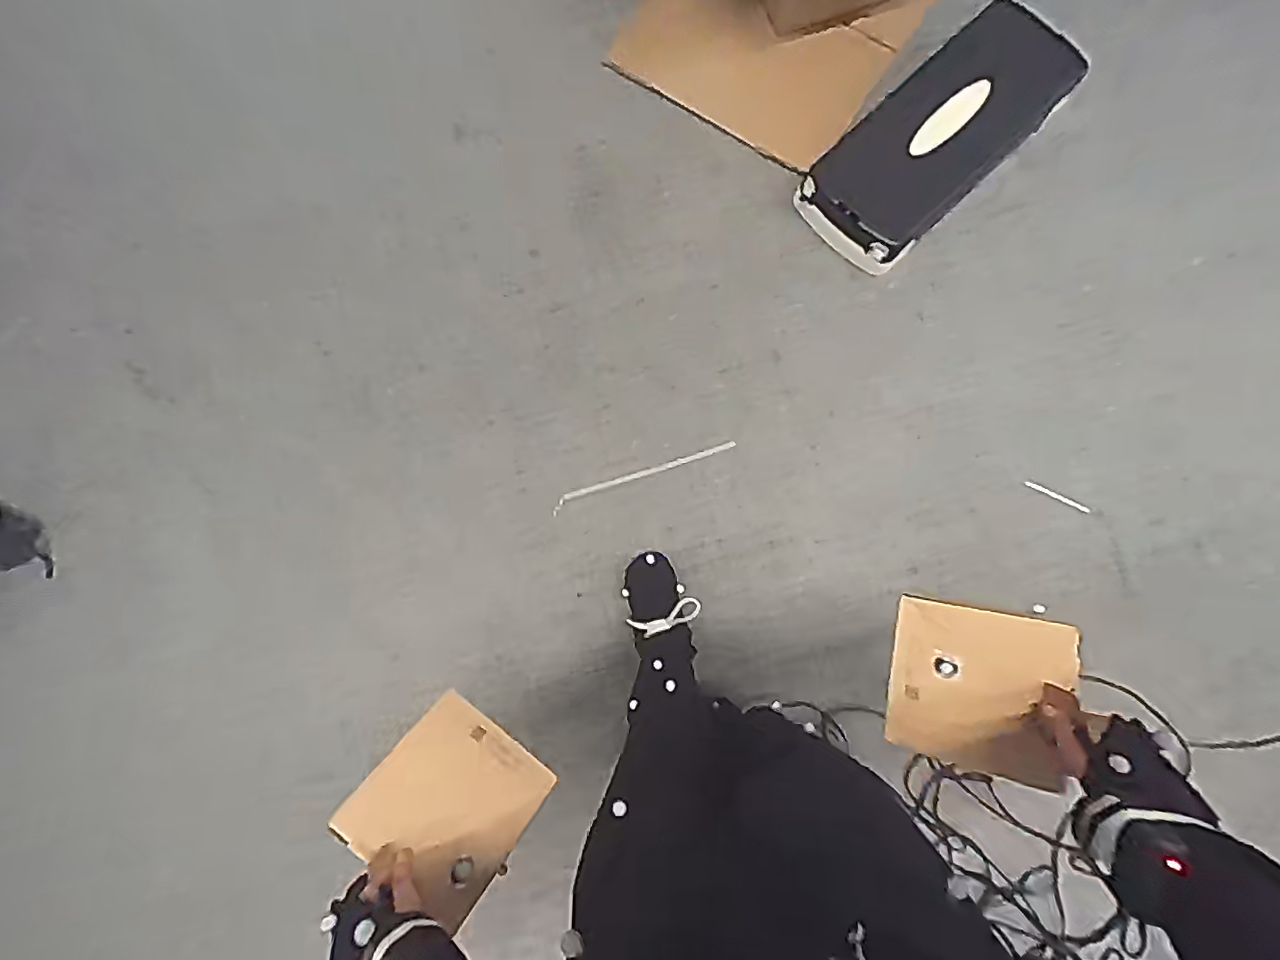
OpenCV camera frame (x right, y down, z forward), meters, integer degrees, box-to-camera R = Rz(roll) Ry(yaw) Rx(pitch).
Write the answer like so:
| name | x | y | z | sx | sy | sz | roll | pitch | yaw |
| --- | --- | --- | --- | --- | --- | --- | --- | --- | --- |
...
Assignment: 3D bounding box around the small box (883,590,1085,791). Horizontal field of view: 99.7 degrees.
| name | x | y | z | sx | sy | sz | roll | pitch | yaw |
| --- | --- | --- | --- | --- | --- | --- | --- | --- | --- |
| small box | 0.394 | 0.228 | 0.643 | 0.176 | 0.179 | 0.168 | 7 | 84 | 29 |
